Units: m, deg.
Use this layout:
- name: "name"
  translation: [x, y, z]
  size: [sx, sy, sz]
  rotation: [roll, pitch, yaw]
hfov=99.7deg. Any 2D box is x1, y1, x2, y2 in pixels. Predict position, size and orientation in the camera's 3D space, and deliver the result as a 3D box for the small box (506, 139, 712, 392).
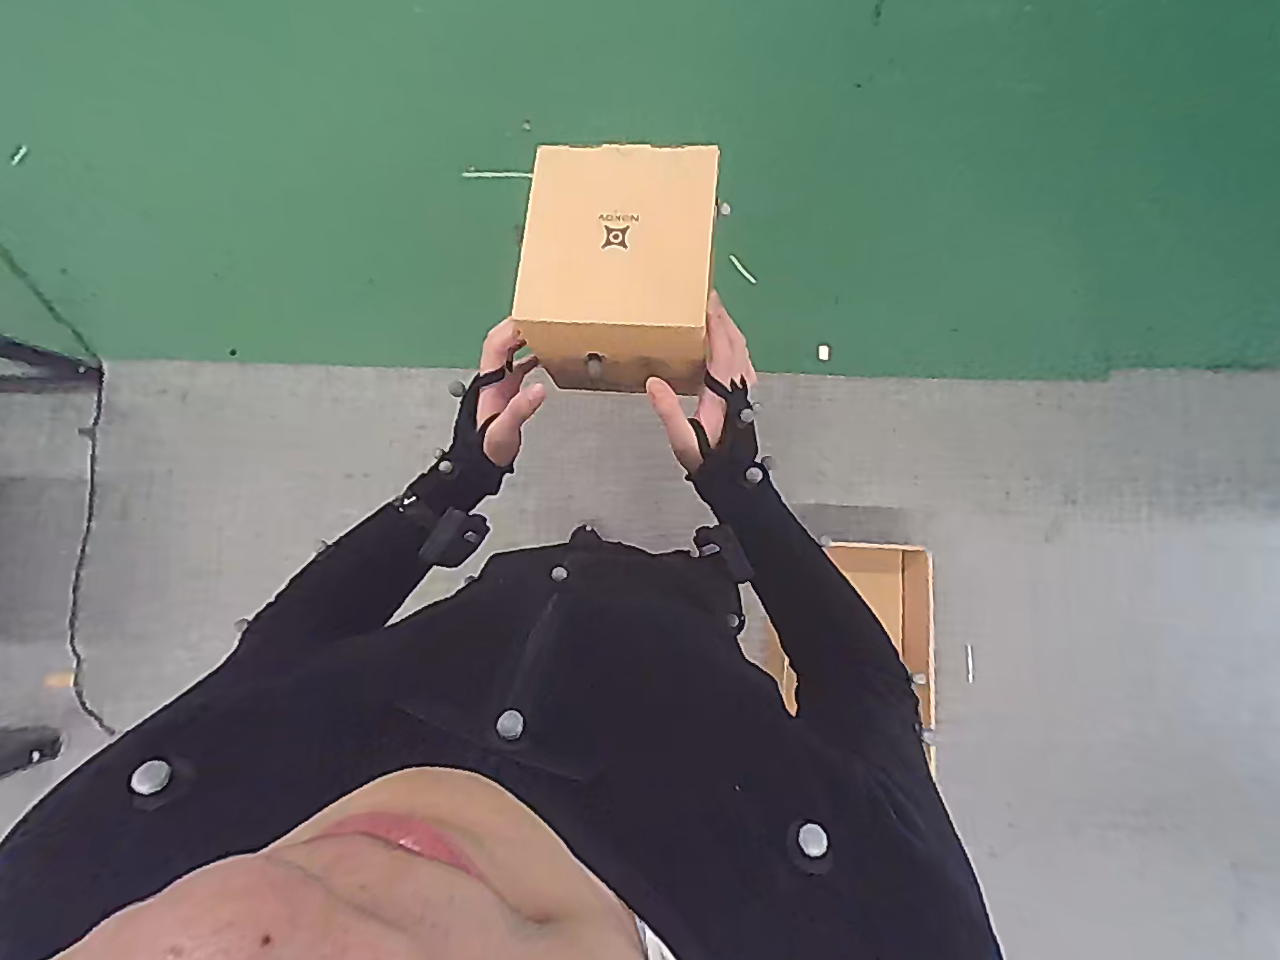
- name: "small box"
  translation: [-0.017, -0.197, 0.535]
  size: [0.168, 0.176, 0.179]
  rotation: [3, 78, 6]
